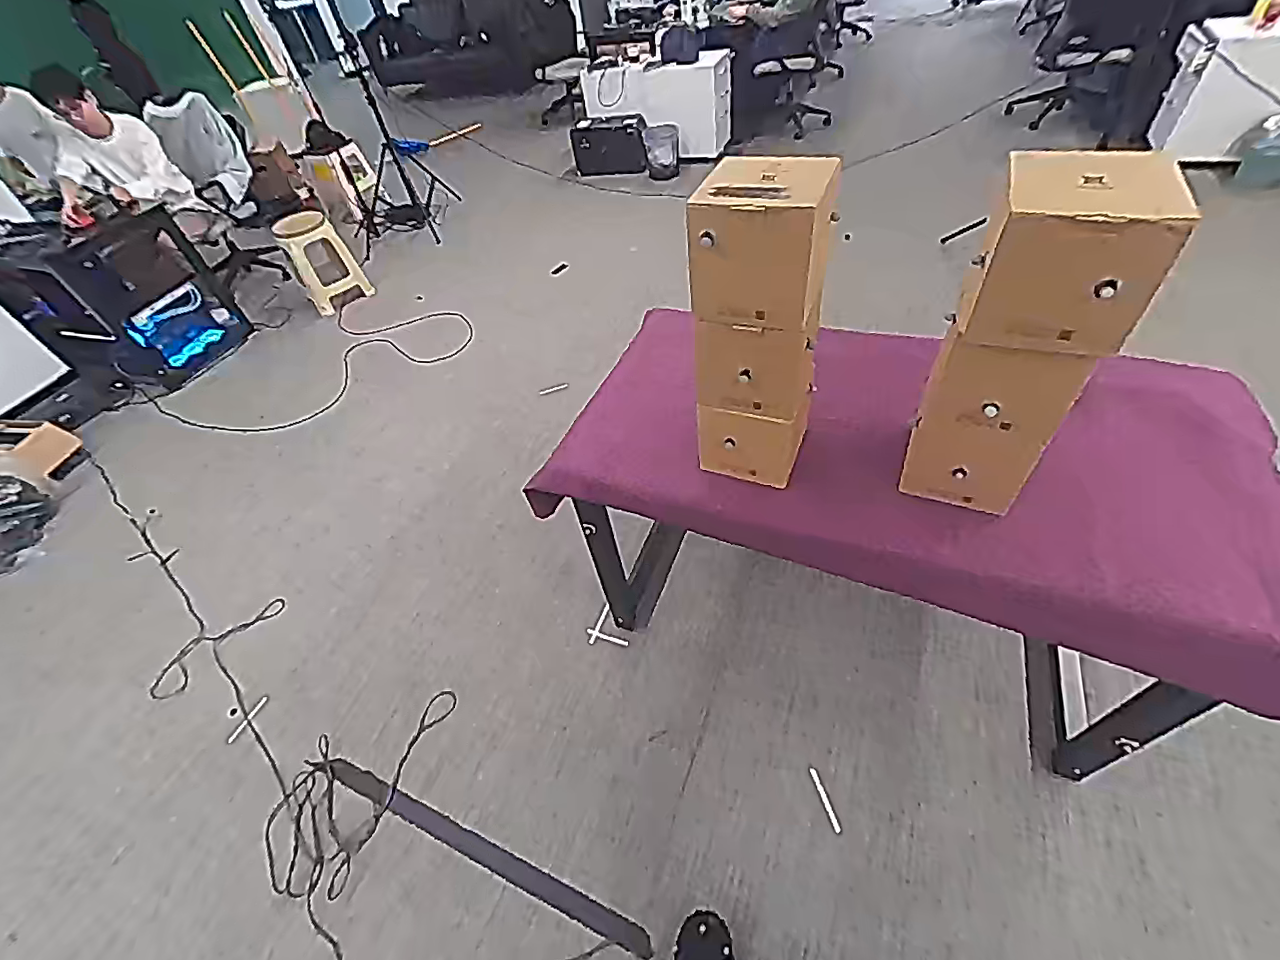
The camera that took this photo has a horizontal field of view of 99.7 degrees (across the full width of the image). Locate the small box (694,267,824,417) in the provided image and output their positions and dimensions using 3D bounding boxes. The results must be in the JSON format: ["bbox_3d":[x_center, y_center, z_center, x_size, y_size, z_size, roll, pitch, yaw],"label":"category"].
[{"bbox_3d":[0.197,-0.226,0.893,0.168,0.176,0.179,13,51,19],"label":"small box"}]

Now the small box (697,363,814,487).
[{"bbox_3d":[0.216,-0.112,1.009,0.168,0.176,0.179,14,51,21],"label":"small box"}]

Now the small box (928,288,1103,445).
[{"bbox_3d":[0.540,-0.181,0.794,0.168,0.176,0.179,15,53,22],"label":"small box"}]

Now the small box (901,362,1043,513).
[{"bbox_3d":[0.556,-0.071,0.914,0.168,0.176,0.179,16,53,22],"label":"small box"}]

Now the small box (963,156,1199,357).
[{"bbox_3d":[0.513,-0.273,0.660,0.168,0.176,0.179,13,52,19],"label":"small box"}]
